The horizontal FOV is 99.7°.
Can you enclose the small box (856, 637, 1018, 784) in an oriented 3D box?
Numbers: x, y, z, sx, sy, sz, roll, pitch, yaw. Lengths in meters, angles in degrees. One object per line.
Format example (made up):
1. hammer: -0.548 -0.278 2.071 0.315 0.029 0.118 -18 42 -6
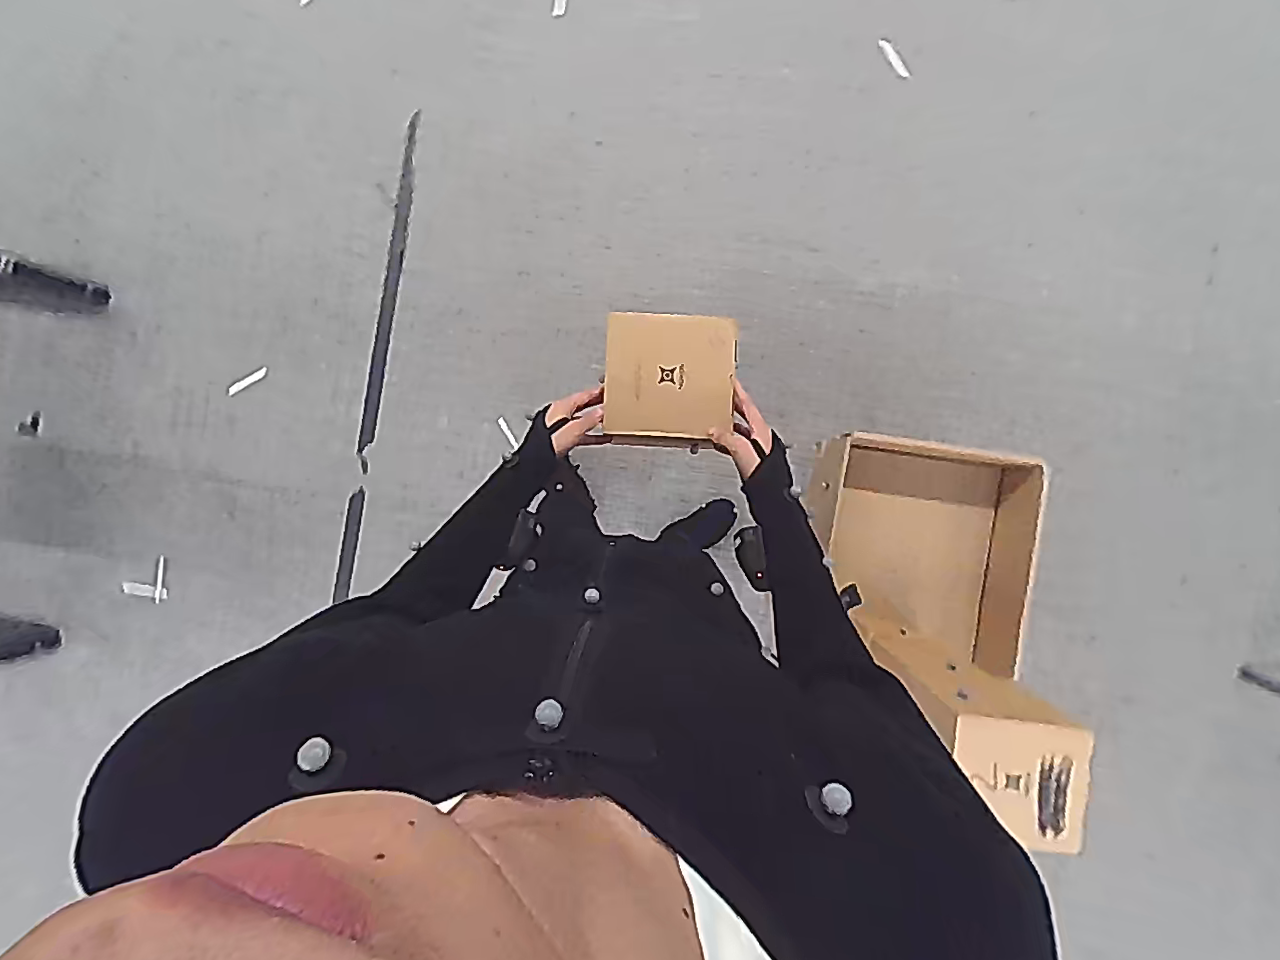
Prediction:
1. small box: 0.511 0.394 0.955 0.179 0.176 0.168 12 91 1
